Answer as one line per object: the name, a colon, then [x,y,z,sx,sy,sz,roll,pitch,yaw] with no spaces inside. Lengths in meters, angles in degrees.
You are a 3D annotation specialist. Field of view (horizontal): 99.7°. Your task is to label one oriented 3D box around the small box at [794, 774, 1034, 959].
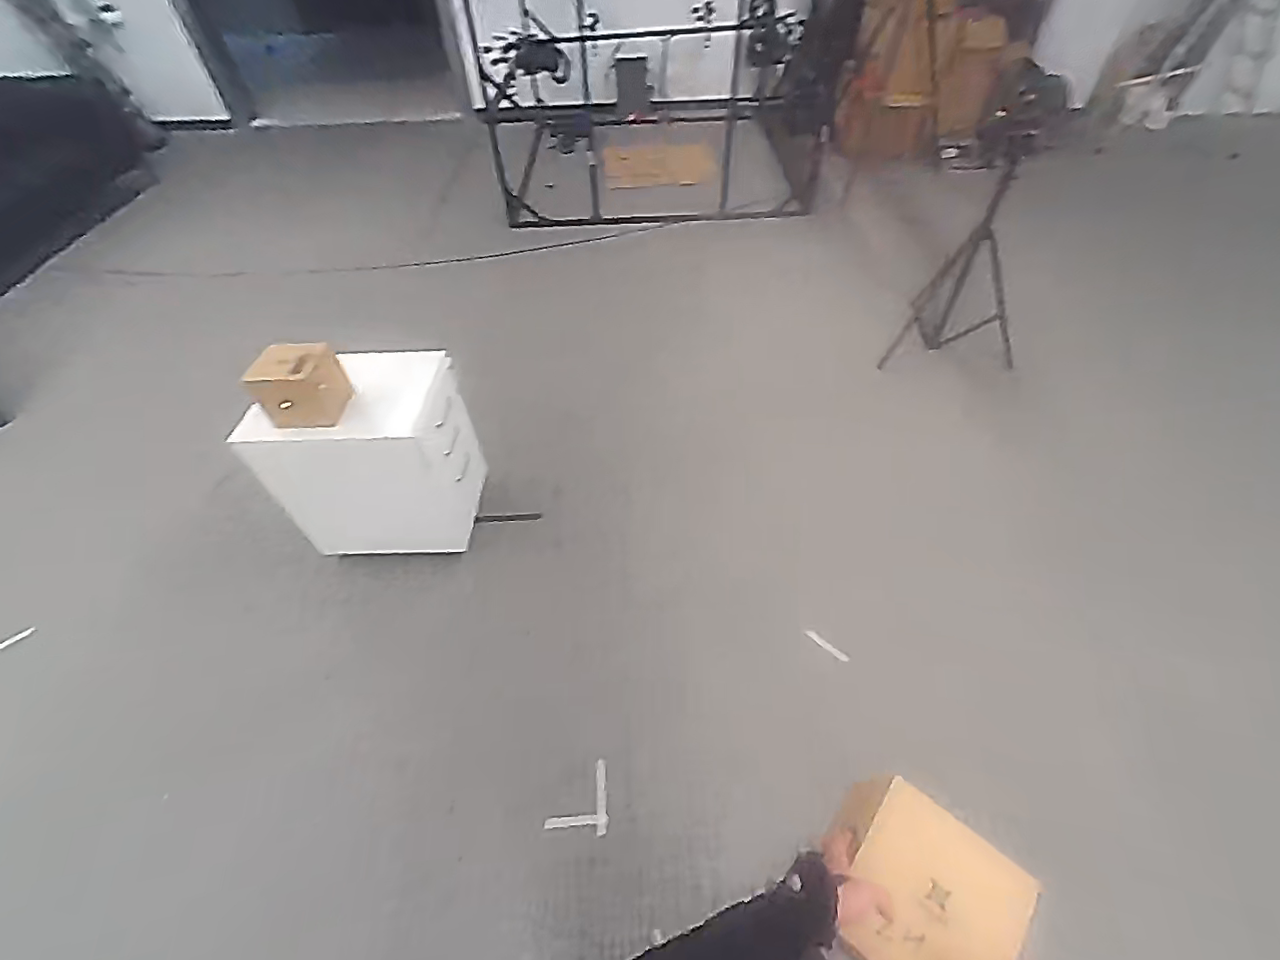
small box: [0.302,0.480,0.630,0.168,0.176,0.179,34,64,20]
